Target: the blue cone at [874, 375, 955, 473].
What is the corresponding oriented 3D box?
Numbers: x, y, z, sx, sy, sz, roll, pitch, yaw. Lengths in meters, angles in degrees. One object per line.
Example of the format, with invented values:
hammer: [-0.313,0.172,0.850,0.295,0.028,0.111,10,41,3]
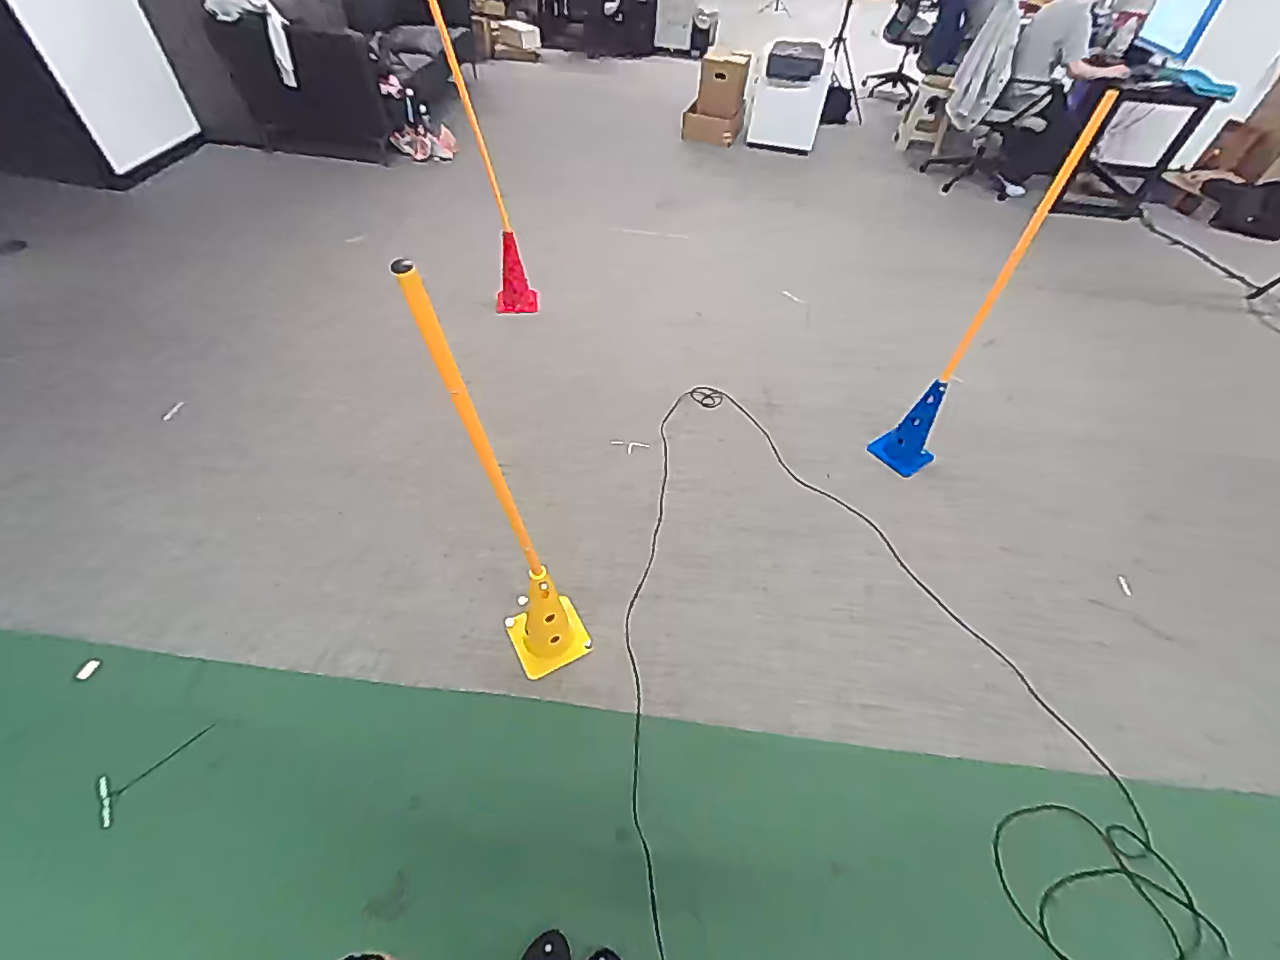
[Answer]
blue cone: [1.041,-0.228,1.991,0.193,0.380,0.192,-29,56,-27]
